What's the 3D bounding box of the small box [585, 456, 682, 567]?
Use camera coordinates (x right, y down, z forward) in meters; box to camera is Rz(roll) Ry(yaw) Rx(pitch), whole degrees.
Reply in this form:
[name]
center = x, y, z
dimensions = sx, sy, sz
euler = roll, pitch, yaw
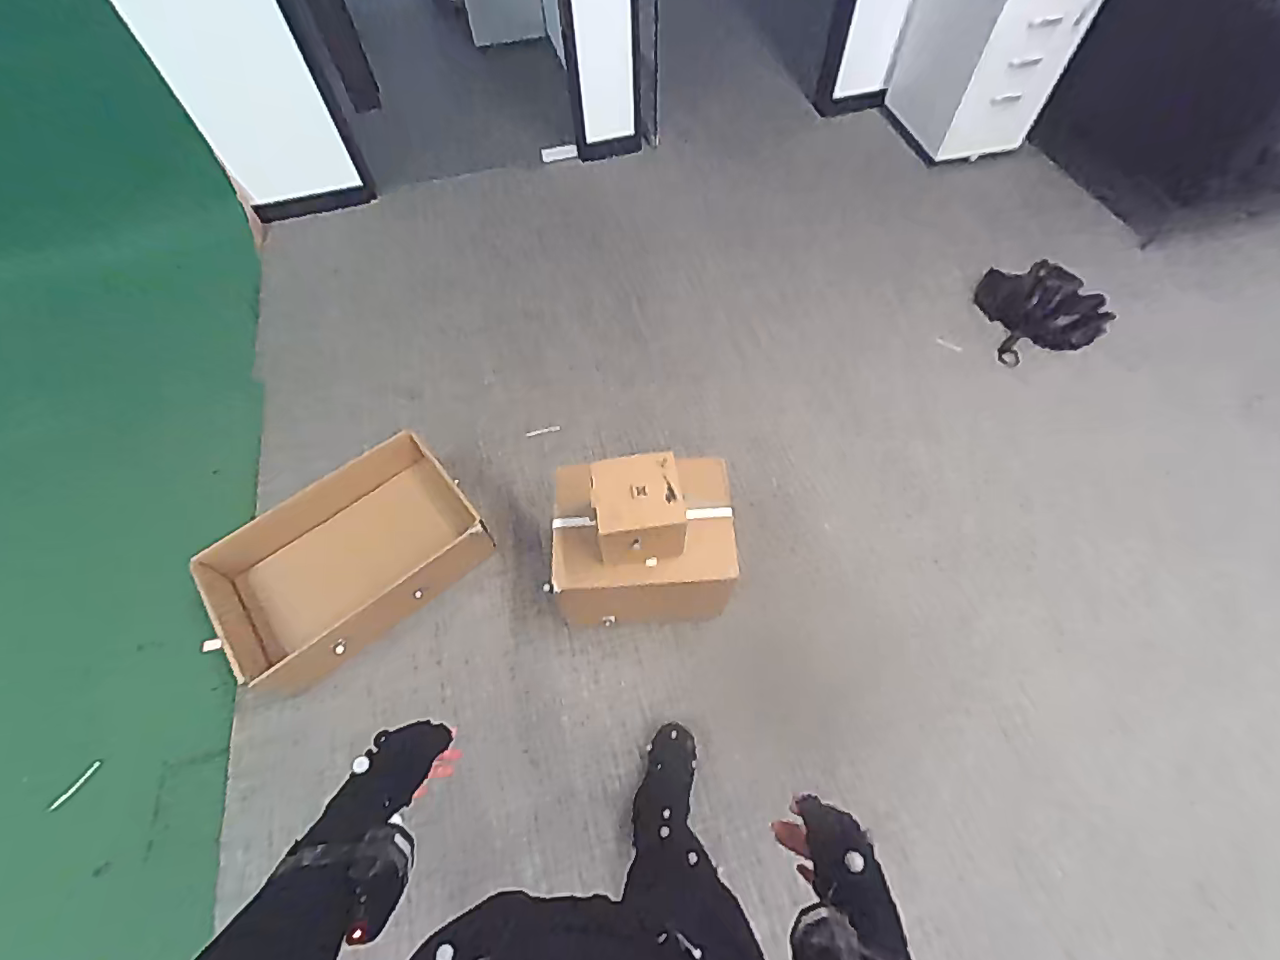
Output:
[small box]
center = -0.013, 0.072, 1.135
dimensions = 0.179, 0.176, 0.168
euler = -8, 60, -3
